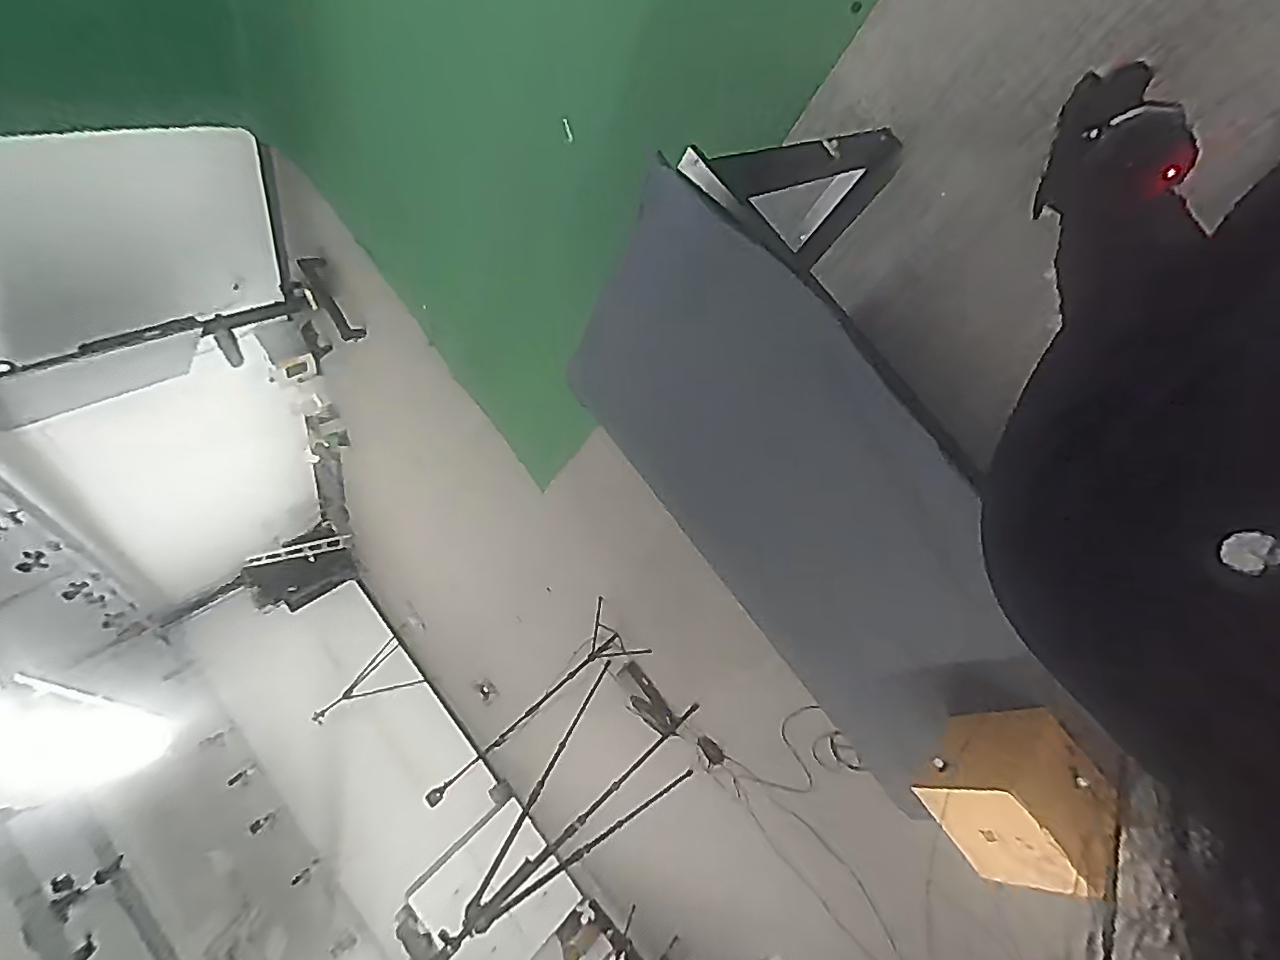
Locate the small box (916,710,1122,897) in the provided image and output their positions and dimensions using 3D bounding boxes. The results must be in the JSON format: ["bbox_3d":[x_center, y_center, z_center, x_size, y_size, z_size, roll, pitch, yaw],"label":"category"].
[{"bbox_3d":[0.576,0.478,0.825,0.168,0.176,0.179,51,145,8],"label":"small box"}]
